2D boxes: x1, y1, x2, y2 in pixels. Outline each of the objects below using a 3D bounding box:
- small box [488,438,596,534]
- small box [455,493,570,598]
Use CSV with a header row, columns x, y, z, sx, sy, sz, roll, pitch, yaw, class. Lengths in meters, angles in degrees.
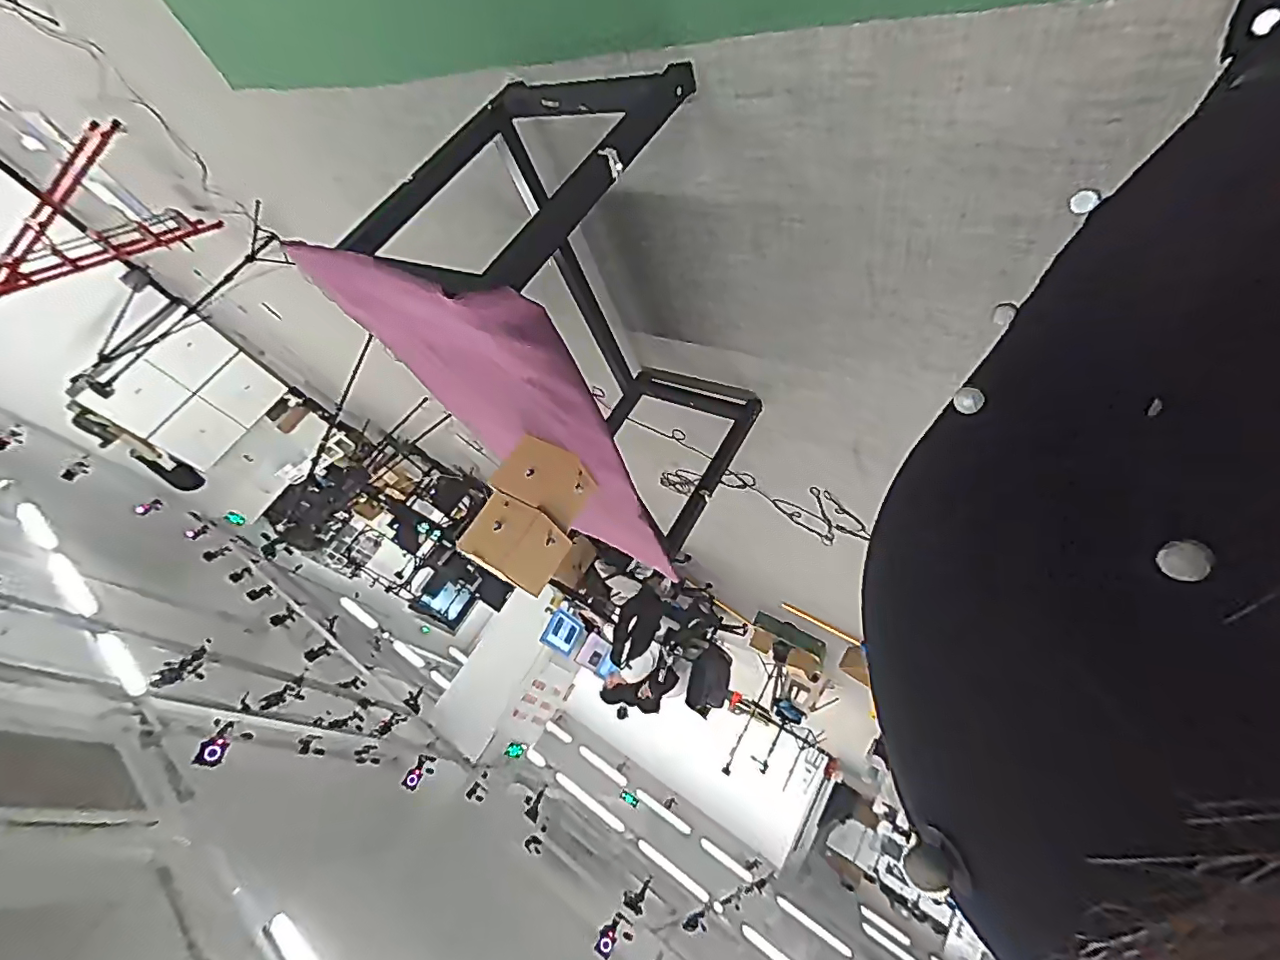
x,y,z,sx,sy,sz,roll,pitch,yaw,class
-0.245,0.015,1.387,0.179,0.176,0.168,22,159,30,small box
-0.306,0.156,1.327,0.168,0.176,0.179,21,157,33,small box
